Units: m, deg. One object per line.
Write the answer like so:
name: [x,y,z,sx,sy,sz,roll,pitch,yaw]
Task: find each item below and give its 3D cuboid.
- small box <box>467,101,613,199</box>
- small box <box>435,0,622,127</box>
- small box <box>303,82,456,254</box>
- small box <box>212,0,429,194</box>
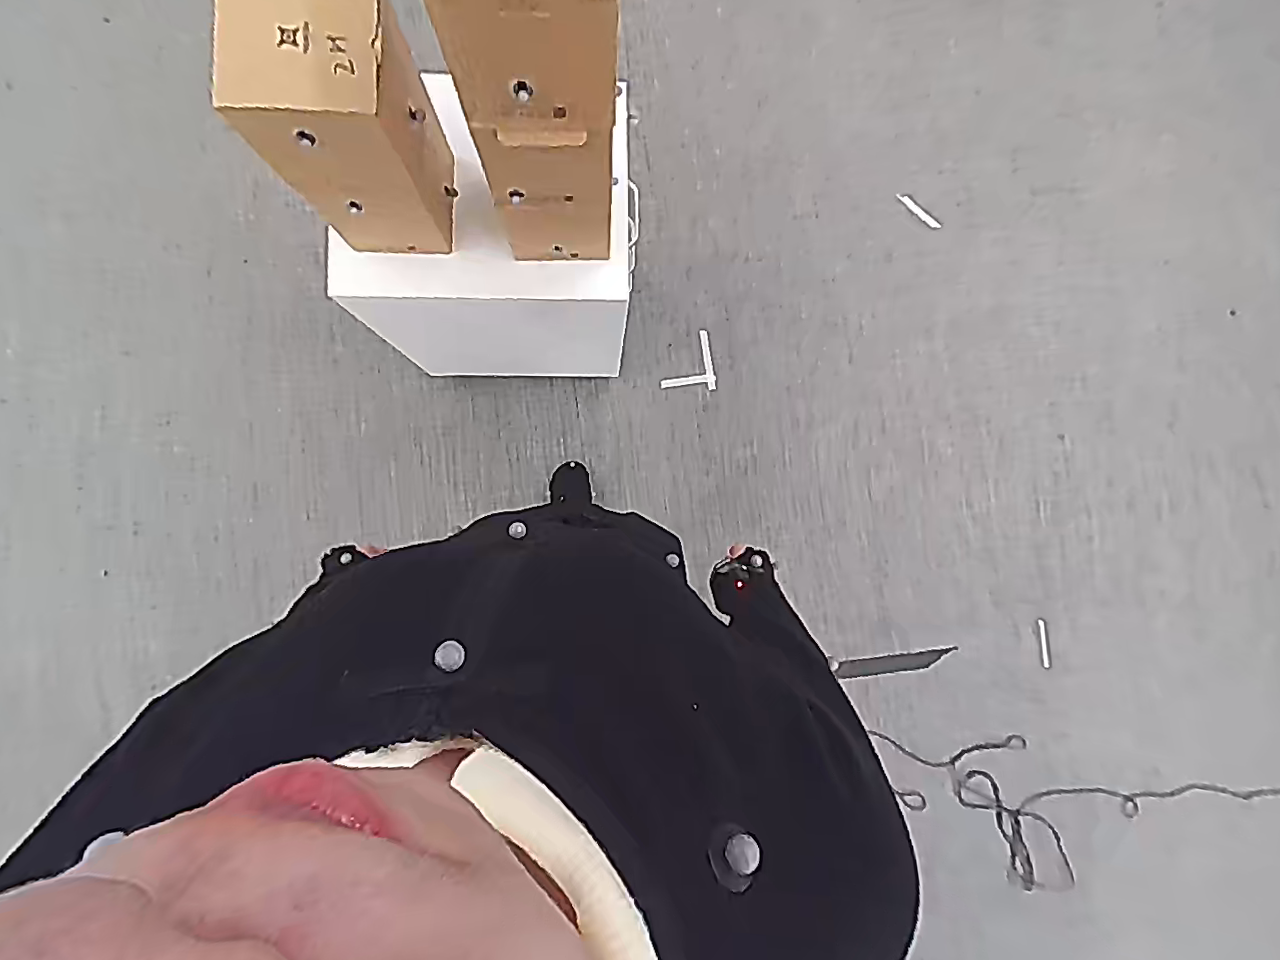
small box: [-0.118,-0.482,0.689,0.168,0.176,0.179,-2,87,-4]
small box: [-0.106,-0.488,0.527,0.168,0.176,0.179,-2,88,-4]
small box: [-0.390,-0.477,0.834,0.168,0.176,0.179,0,87,-4]
small box: [-0.379,-0.480,0.669,0.179,0.176,0.168,0,88,-4]
